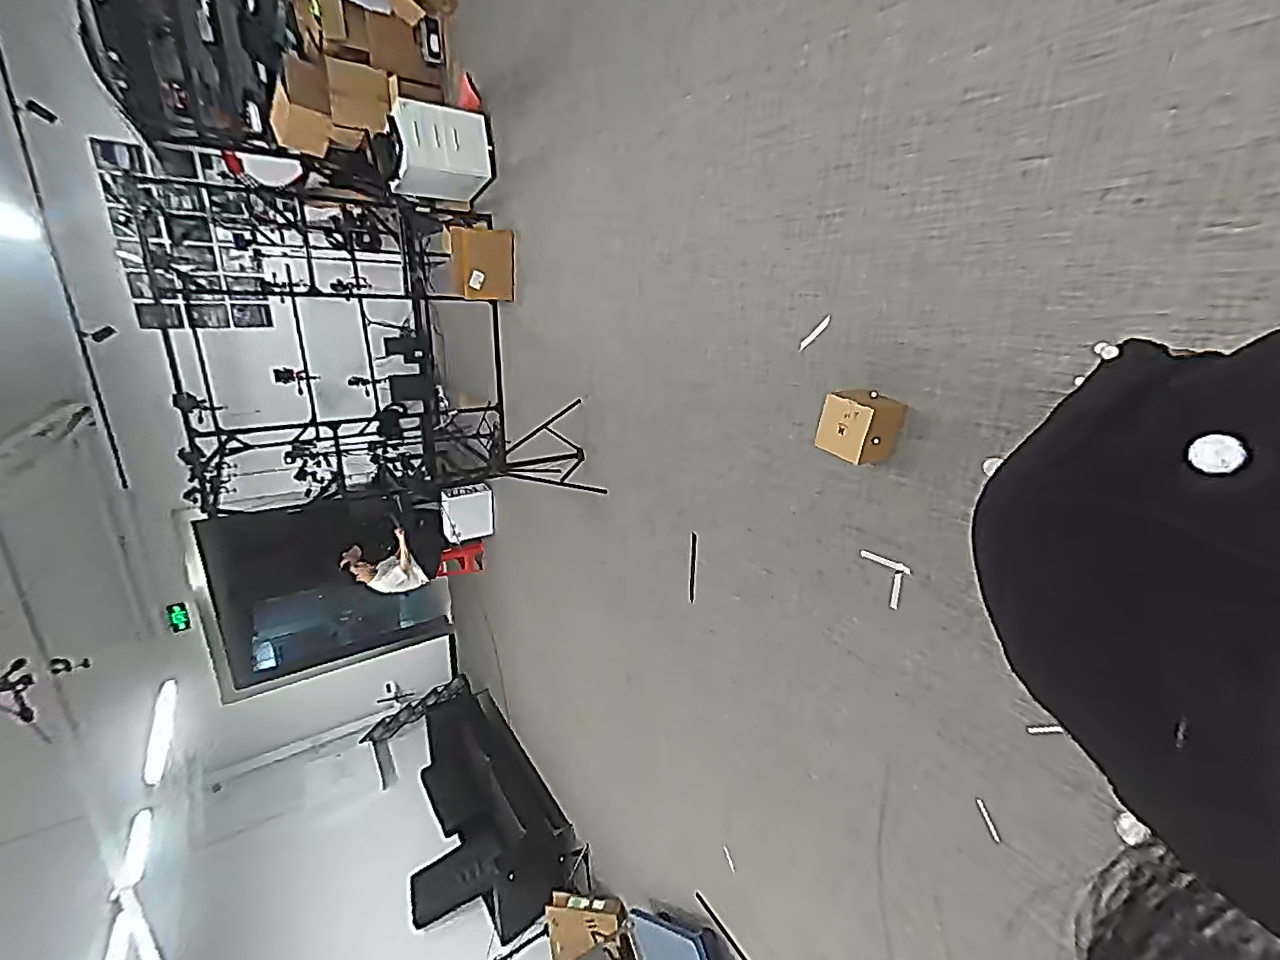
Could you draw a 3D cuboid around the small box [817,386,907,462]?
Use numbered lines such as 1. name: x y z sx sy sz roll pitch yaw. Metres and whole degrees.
1. small box: 0.676 -0.176 1.643 0.168 0.176 0.179 37 129 45
